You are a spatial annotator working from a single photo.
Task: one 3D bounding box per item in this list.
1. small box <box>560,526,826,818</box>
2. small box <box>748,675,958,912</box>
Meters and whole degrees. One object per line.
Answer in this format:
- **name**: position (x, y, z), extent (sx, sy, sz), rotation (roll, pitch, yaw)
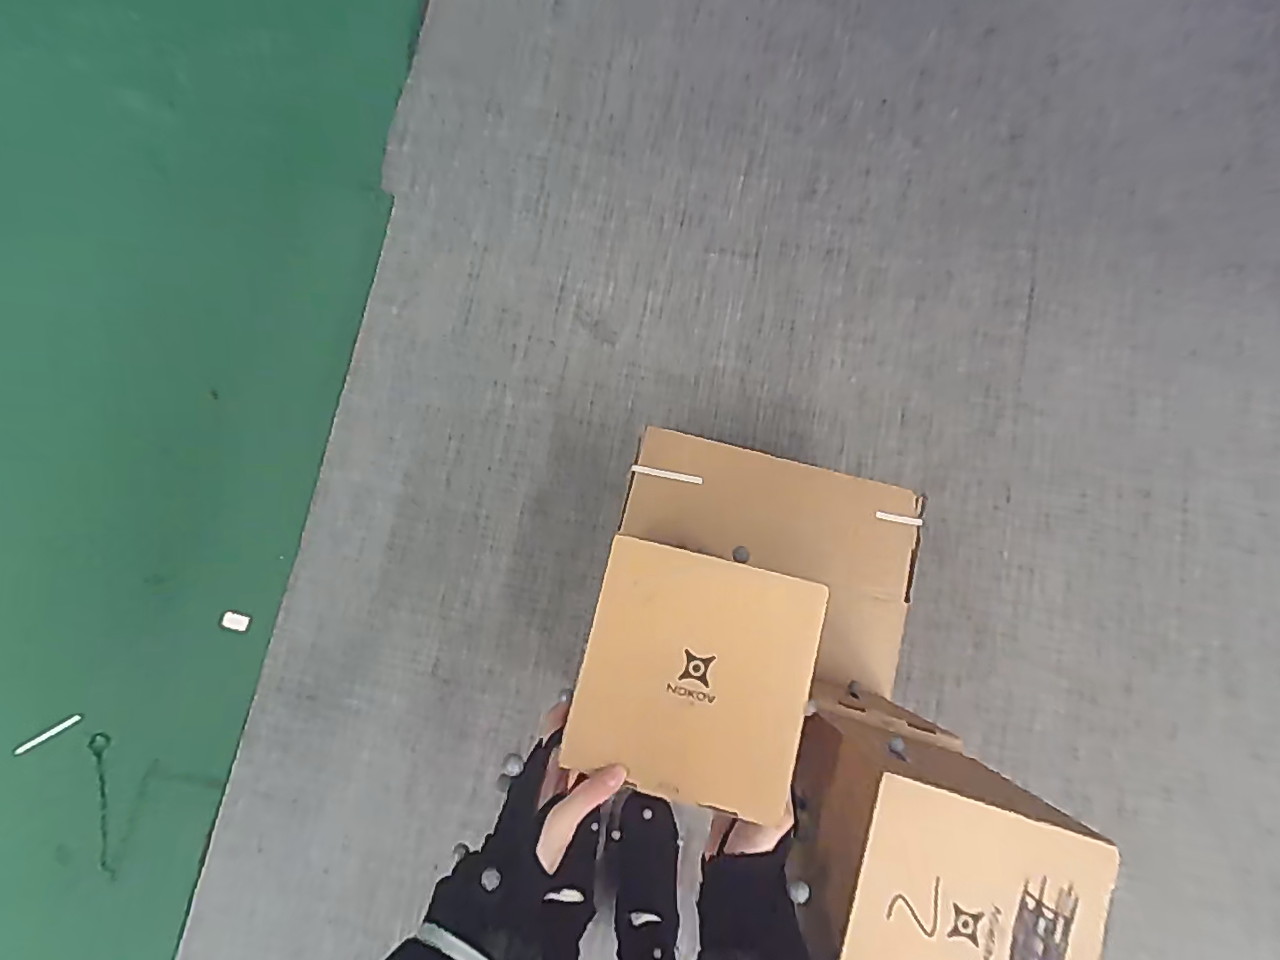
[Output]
- **small box**: position (0.044, 0.147, 0.476), extent (0.168, 0.176, 0.179), rotation (14, 84, 5)
- **small box**: position (0.223, 0.329, 0.618), extent (0.168, 0.176, 0.179), rotation (16, 80, 2)
